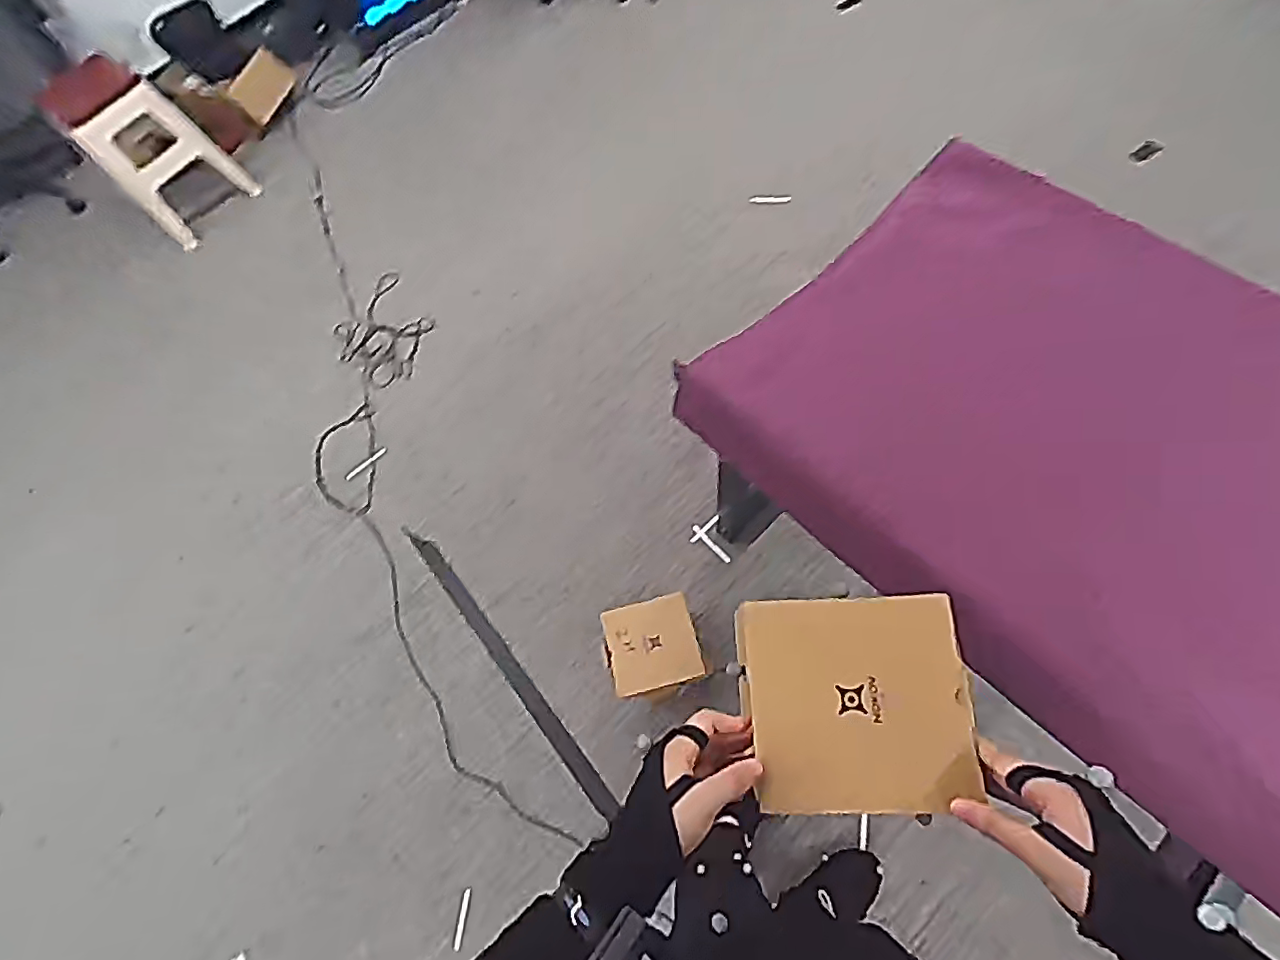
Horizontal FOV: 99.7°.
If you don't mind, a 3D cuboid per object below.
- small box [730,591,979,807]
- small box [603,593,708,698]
[{"bbox_3d":[0.181,0.204,0.522,0.179,0.176,0.168,-5,71,5],"label":"small box"},{"bbox_3d":[0.036,0.346,1.123,0.179,0.176,0.168,-16,67,2],"label":"small box"}]
